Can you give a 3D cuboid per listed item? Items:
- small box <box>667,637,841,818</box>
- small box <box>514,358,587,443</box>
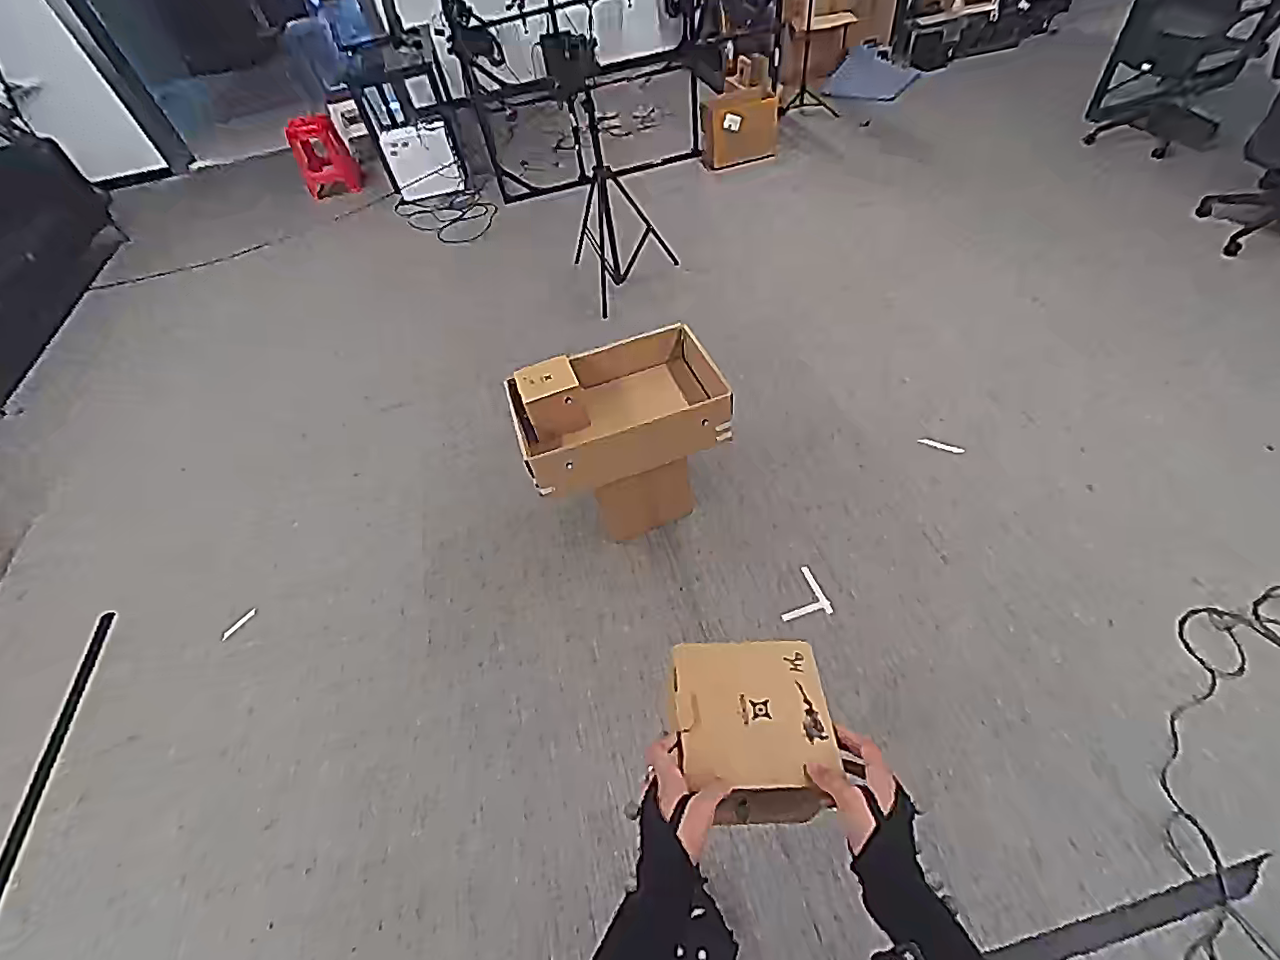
[{"bbox_3d":[0.124,0.311,0.675,0.179,0.176,0.168,-1,47,-1],"label":"small box"},{"bbox_3d":[-0.273,-0.246,1.685,0.179,0.176,0.168,-21,50,-7],"label":"small box"}]
